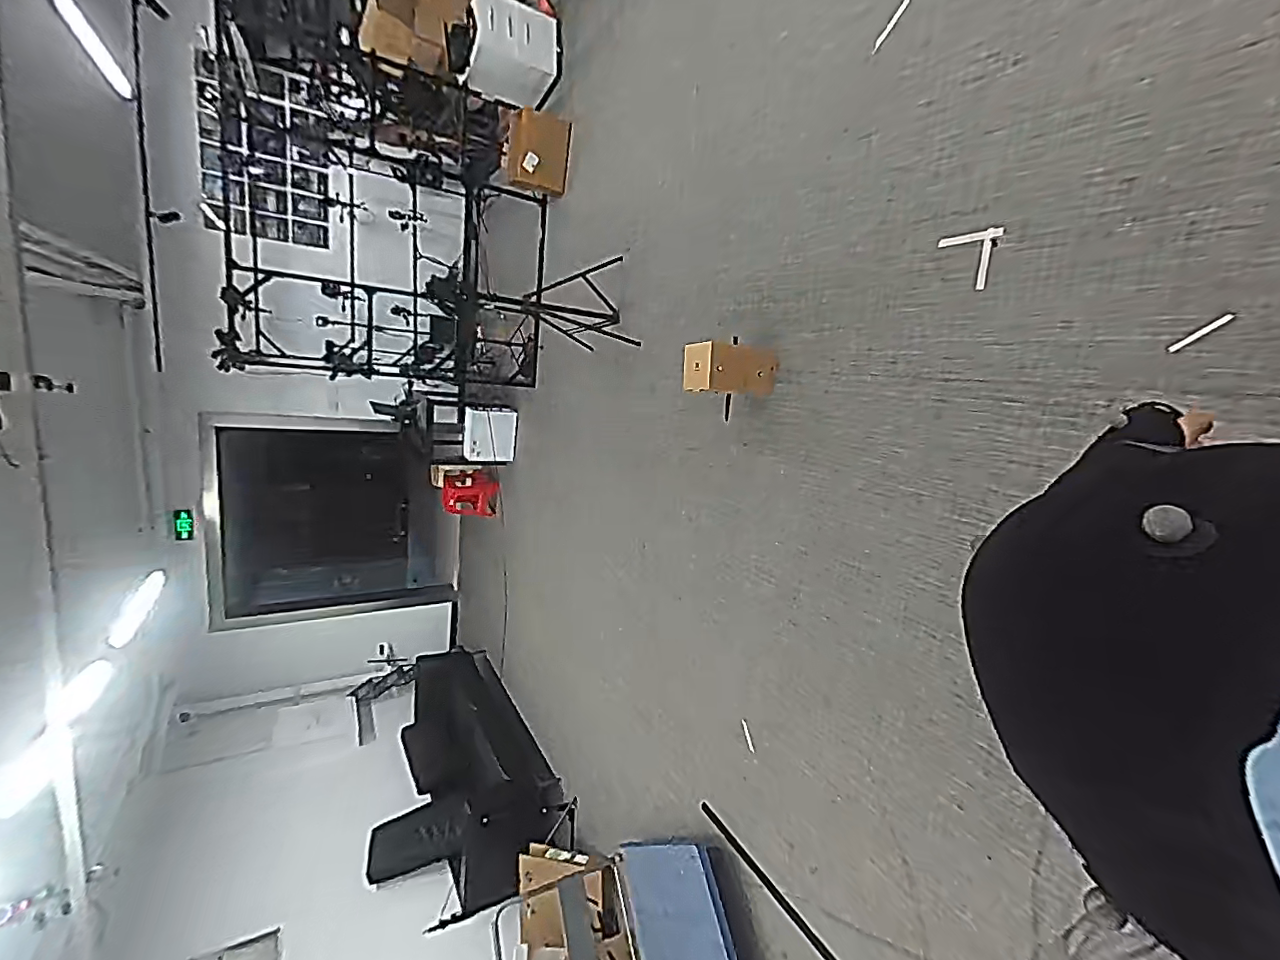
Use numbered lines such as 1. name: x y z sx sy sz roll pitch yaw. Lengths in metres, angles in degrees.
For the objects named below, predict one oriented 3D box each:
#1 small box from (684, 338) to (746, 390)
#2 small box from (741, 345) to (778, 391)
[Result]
1. small box: 0.288 -0.437 2.058 0.168 0.176 0.179 13 103 58
2. small box: 0.424 -0.448 2.148 0.179 0.176 0.168 28 115 56
